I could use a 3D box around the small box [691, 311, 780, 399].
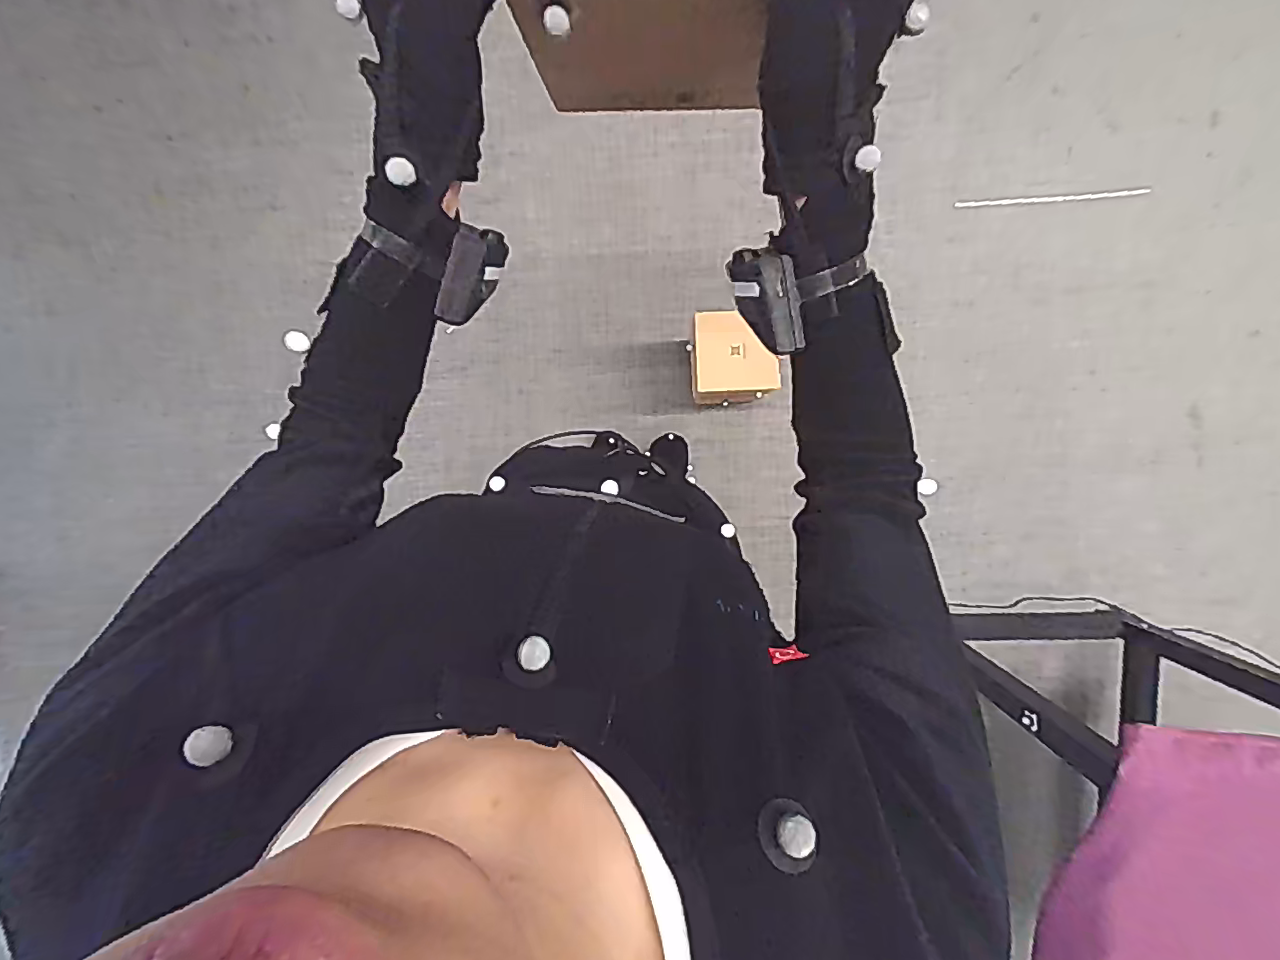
[{"bbox_3d":[0.204,-0.270,1.202,0.179,0.176,0.168,-3,94,1],"label":"small box"}]
